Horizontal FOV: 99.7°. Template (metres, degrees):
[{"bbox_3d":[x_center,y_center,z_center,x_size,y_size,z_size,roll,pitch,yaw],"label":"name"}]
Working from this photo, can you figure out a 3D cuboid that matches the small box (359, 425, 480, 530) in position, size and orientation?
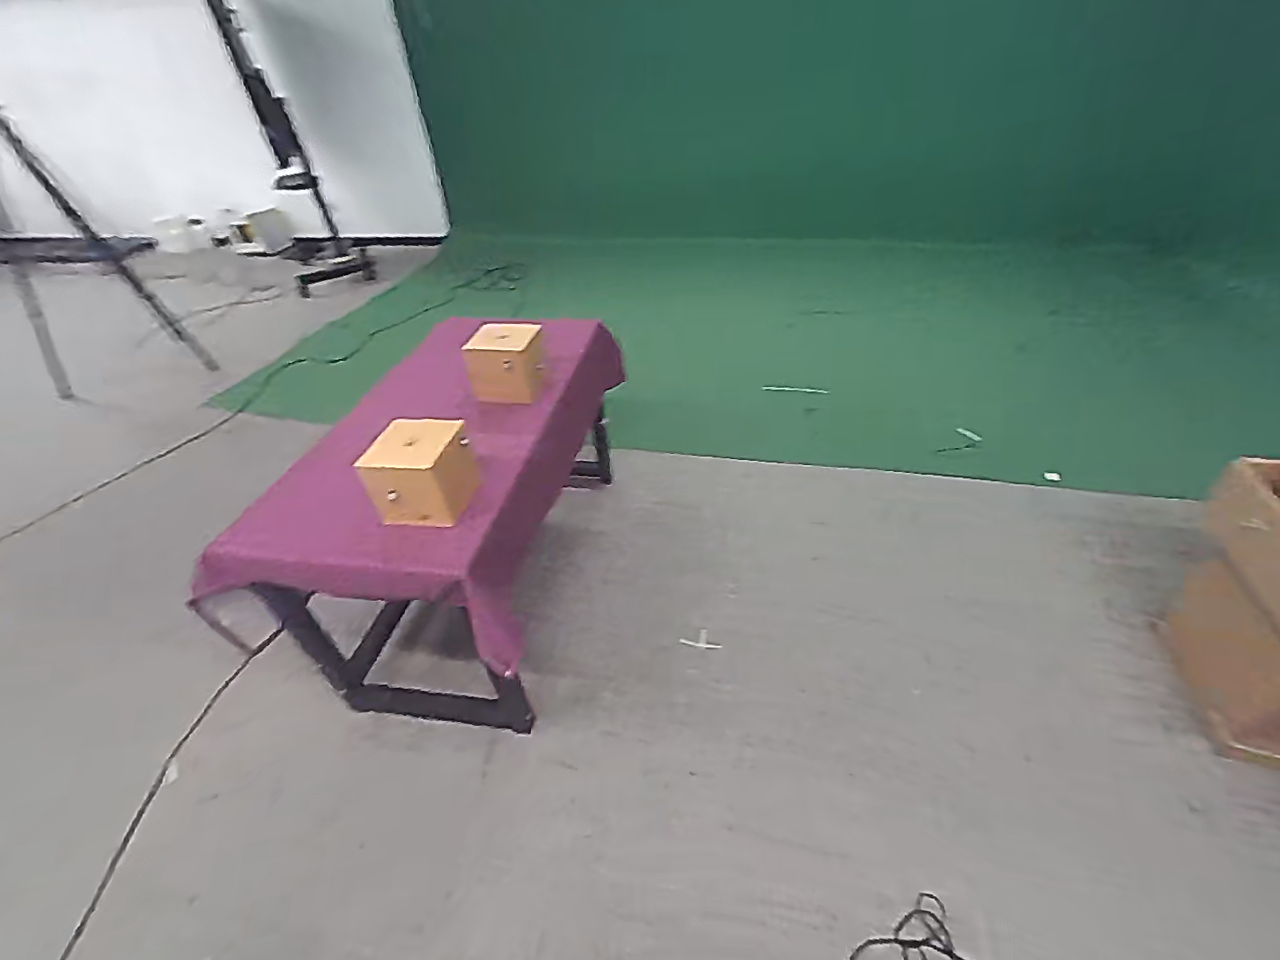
[{"bbox_3d":[-0.474,-0.005,1.197,0.168,0.176,0.179,1,38,9],"label":"small box"}]

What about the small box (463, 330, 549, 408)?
[{"bbox_3d":[-0.380,-0.323,1.576,0.179,0.176,0.168,4,40,11],"label":"small box"}]
